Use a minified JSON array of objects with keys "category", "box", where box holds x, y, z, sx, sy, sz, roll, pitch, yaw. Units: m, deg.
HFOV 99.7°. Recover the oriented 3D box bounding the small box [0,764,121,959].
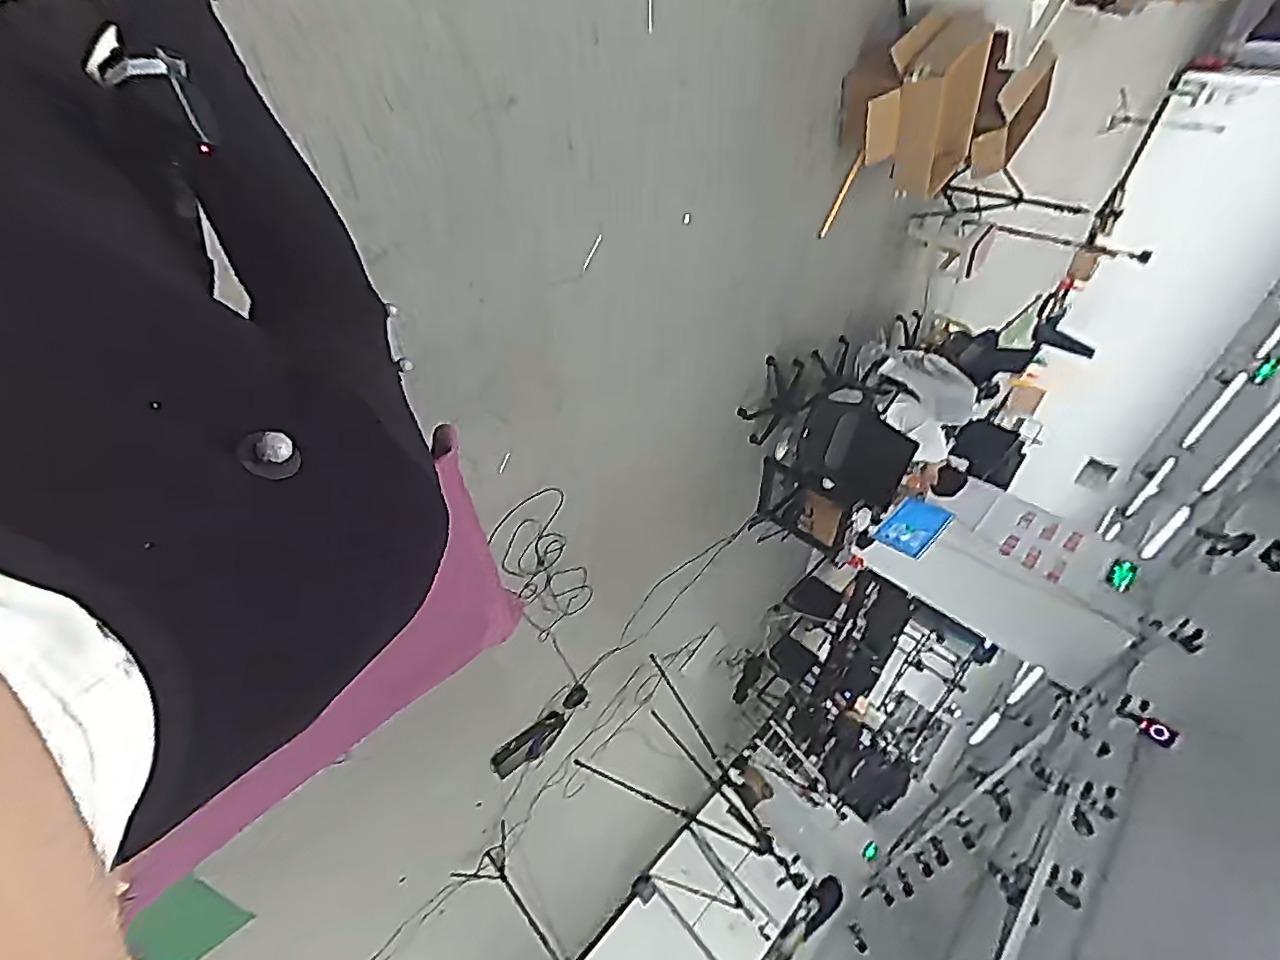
[{"category":"small box","box":[-0.951,0.580,0.818,0.179,0.176,0.168,-34,142,-29]}]
